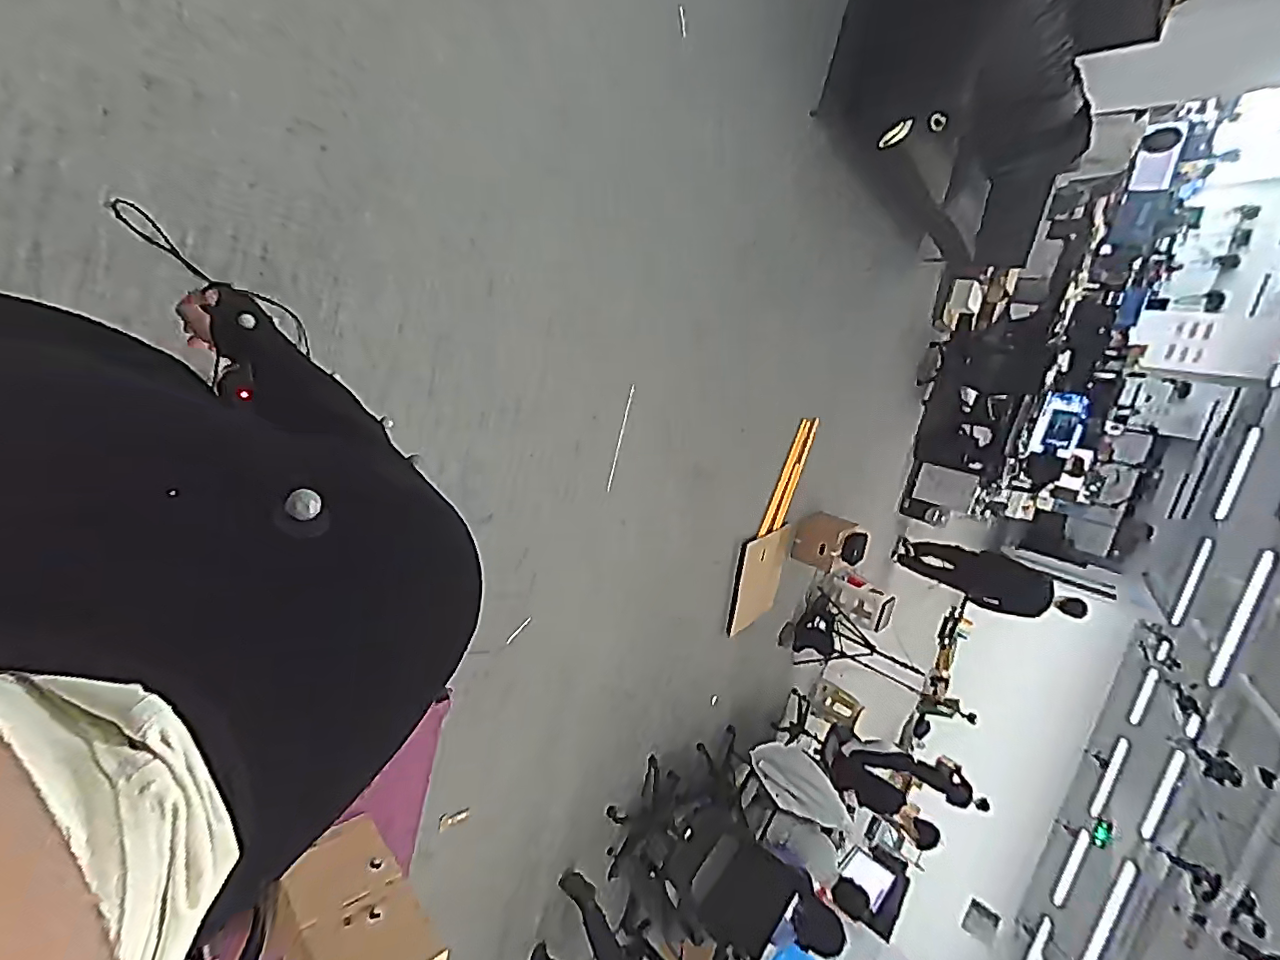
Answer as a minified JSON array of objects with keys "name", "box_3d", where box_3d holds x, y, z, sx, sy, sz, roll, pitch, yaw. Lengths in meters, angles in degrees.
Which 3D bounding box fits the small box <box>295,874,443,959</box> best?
[{"name":"small box","box_3d":[-0.451,0.812,0.886,0.168,0.176,0.179,-1,107,-49]}]

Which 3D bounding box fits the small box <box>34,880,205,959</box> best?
[{"name":"small box","box_3d":[-0.748,0.739,0.775,0.168,0.176,0.179,1,105,-49]}]
